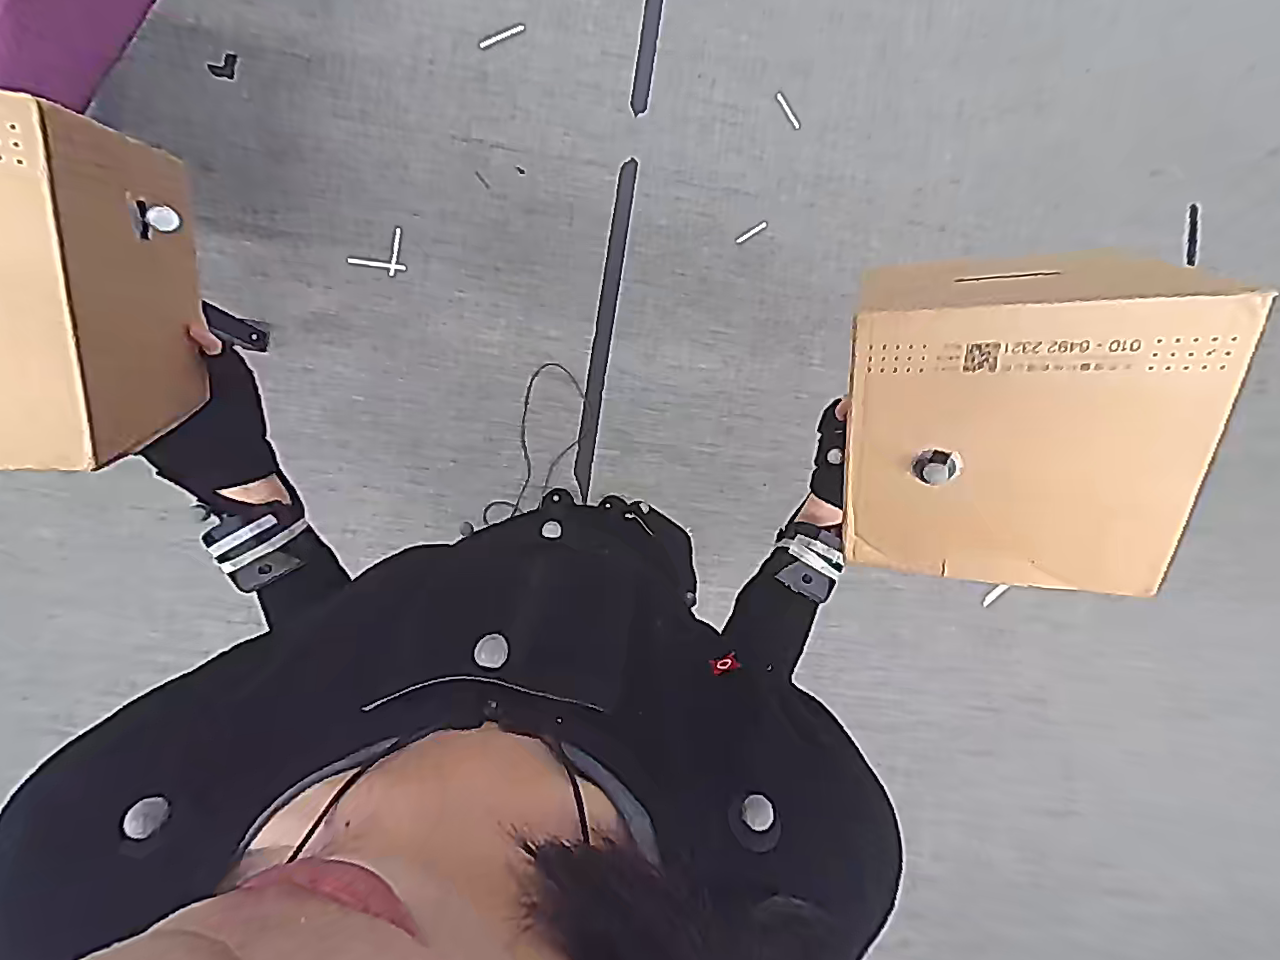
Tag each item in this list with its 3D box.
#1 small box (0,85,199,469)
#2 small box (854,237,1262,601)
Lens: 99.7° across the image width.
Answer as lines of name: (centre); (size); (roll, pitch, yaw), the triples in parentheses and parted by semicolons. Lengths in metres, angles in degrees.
small box: (-0.361, -0.112, 0.276); (0.168, 0.179, 0.176); (2, 110, -24)
small box: (0.229, -0.050, 0.349); (0.168, 0.179, 0.176); (4, 120, 21)
